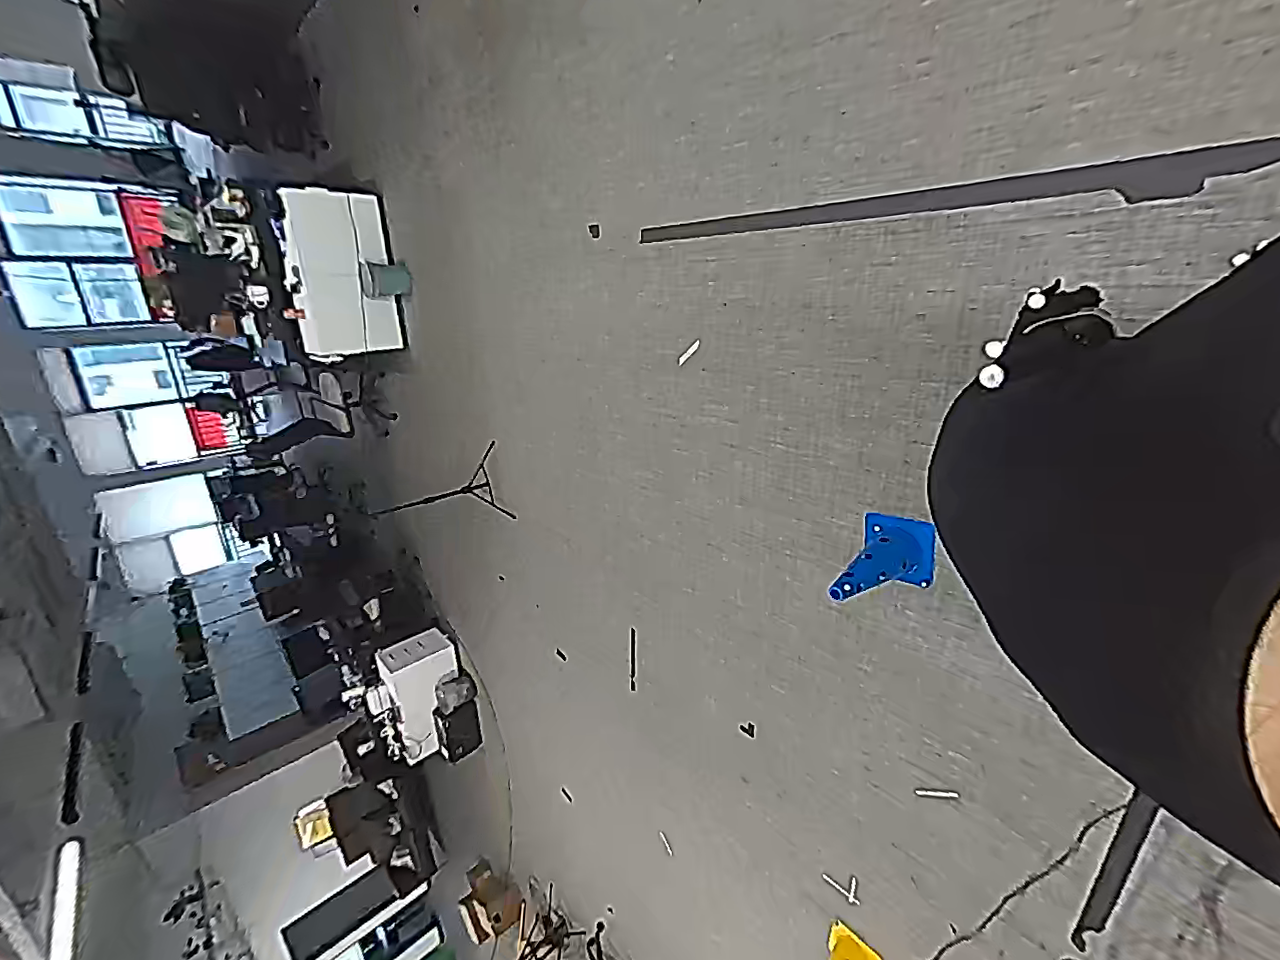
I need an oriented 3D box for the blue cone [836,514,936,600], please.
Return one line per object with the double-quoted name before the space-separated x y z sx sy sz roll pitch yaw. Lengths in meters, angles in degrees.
"blue cone" 0.633 0.237 1.465 0.192 0.380 0.193 13 114 46
